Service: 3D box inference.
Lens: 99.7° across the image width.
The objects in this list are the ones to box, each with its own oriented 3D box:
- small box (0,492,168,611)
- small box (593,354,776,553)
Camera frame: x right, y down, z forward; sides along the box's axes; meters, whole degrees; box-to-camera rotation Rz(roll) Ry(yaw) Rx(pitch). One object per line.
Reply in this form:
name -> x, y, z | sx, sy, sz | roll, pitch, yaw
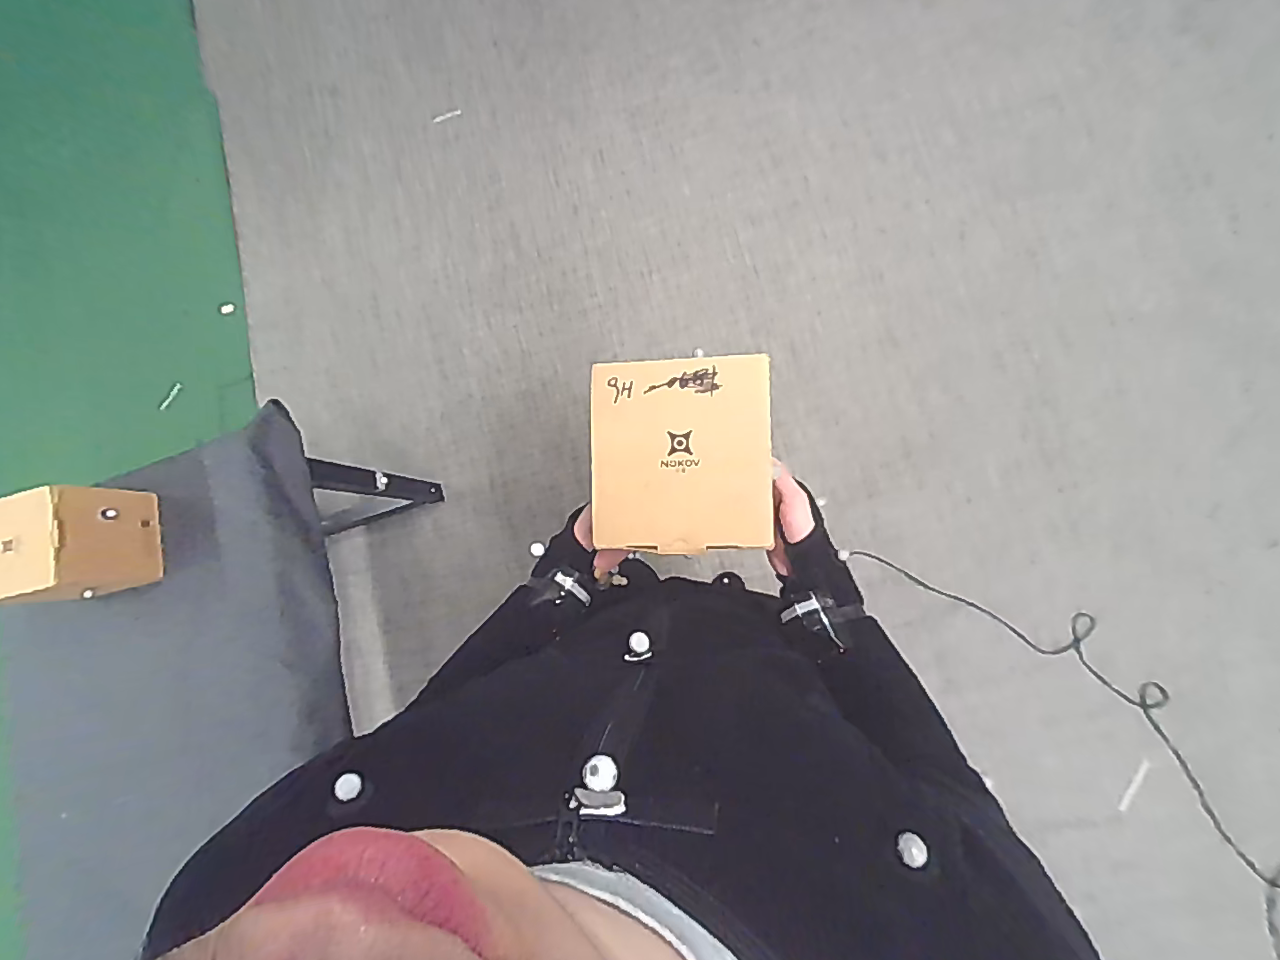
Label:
small box -> -0.974, 0.126, 0.946 | 0.179, 0.176, 0.168 | -14, 78, 9
small box -> 0.052, -0.019, 0.559 | 0.168, 0.176, 0.179 | -2, 86, 10
